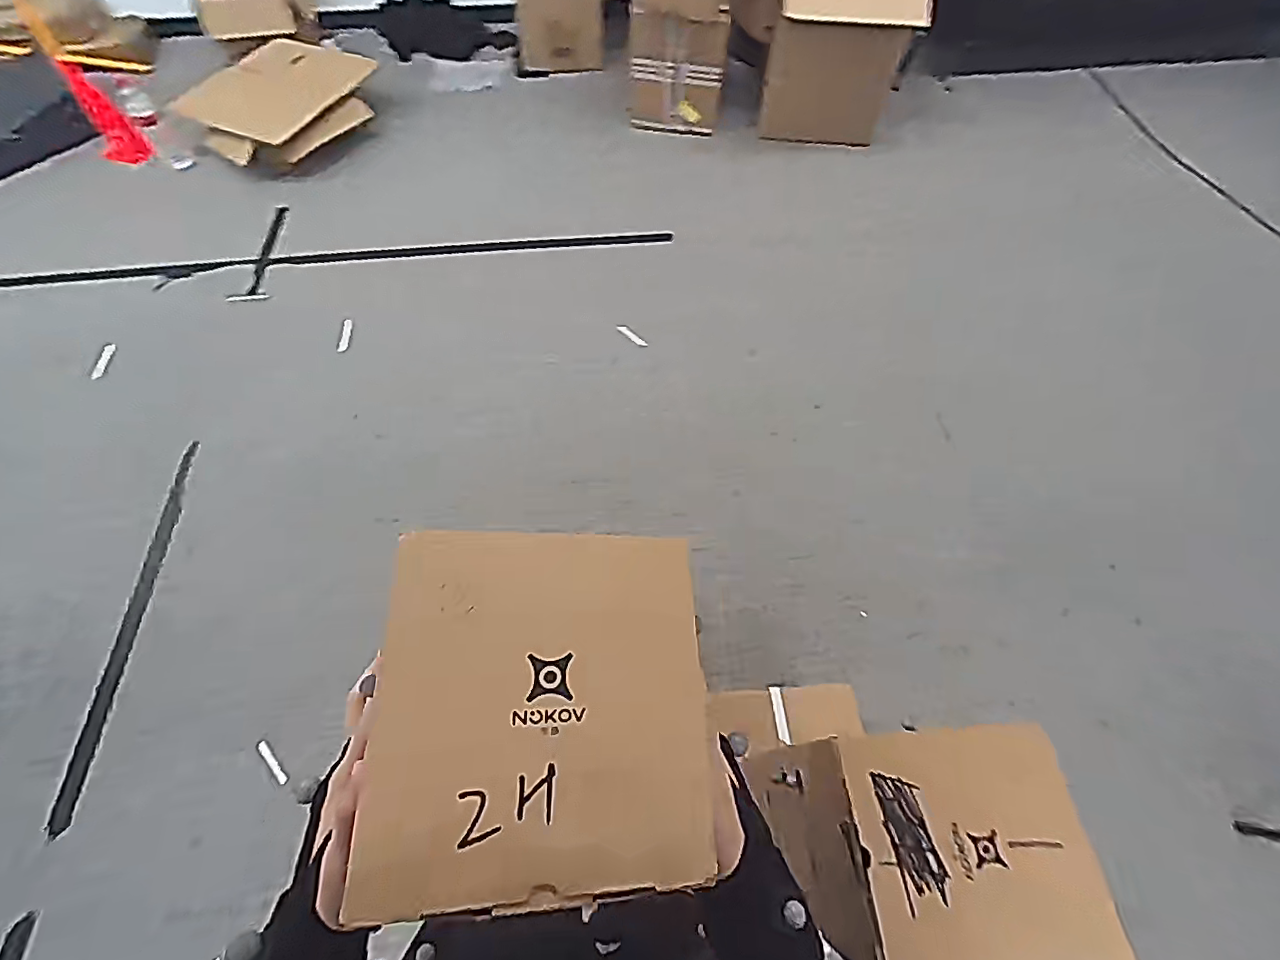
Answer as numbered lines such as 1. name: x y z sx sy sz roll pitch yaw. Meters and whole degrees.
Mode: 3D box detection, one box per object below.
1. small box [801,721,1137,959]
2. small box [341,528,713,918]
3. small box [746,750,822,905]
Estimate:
1. small box: 0.252 0.313 0.475 0.179 0.176 0.168 -3 61 -1
2. small box: -0.066 0.144 0.346 0.168 0.176 0.179 2 63 -12
3. small box: 0.261 0.472 0.762 0.179 0.176 0.168 -6 61 -1
